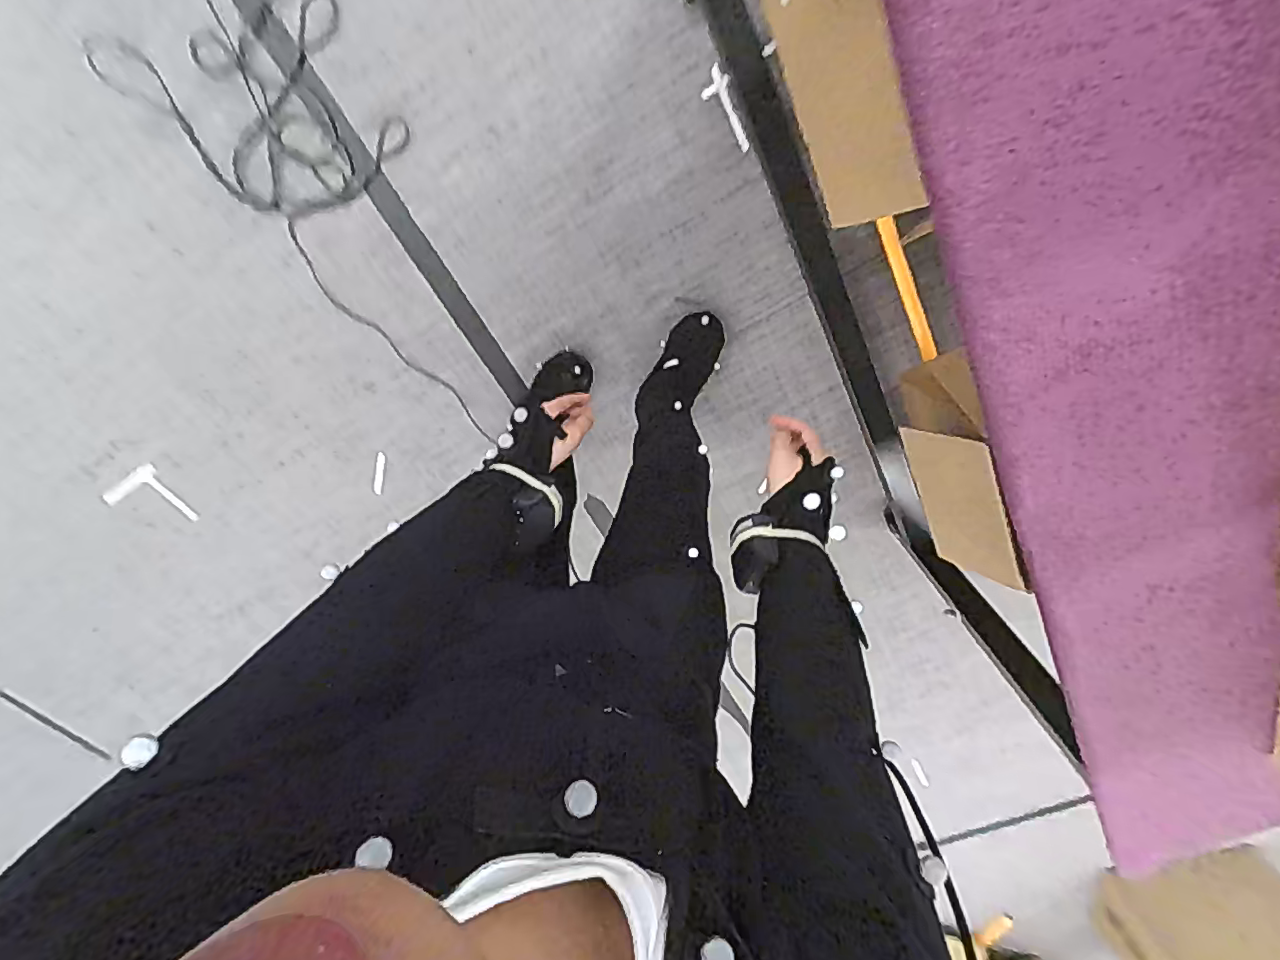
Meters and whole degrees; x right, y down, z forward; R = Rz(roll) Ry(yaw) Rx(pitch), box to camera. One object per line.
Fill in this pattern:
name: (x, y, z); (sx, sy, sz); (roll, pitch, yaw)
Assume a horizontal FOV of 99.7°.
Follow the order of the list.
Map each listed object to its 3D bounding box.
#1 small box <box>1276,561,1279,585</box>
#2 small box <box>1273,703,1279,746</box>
small box: (0.612, 0.042, 0.360); (0.179, 0.176, 0.168); (-24, 115, 11)
small box: (0.720, 0.232, 0.463); (0.168, 0.176, 0.179); (-22, 115, 9)
